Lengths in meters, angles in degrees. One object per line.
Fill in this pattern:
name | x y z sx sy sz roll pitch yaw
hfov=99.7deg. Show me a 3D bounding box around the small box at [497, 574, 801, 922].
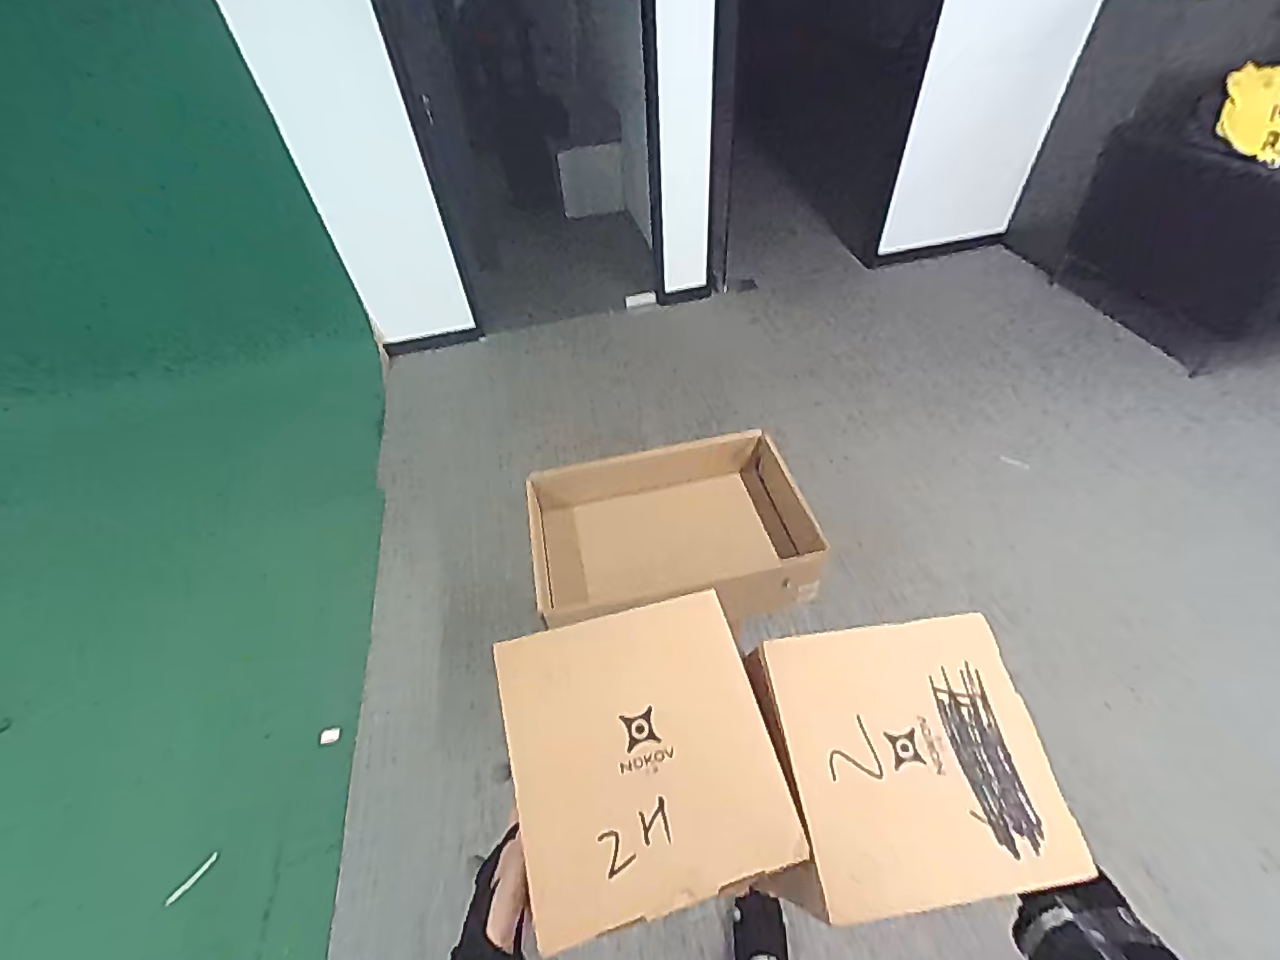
small box | -0.009 0.198 0.418 0.168 0.176 0.179 -11 60 -12
